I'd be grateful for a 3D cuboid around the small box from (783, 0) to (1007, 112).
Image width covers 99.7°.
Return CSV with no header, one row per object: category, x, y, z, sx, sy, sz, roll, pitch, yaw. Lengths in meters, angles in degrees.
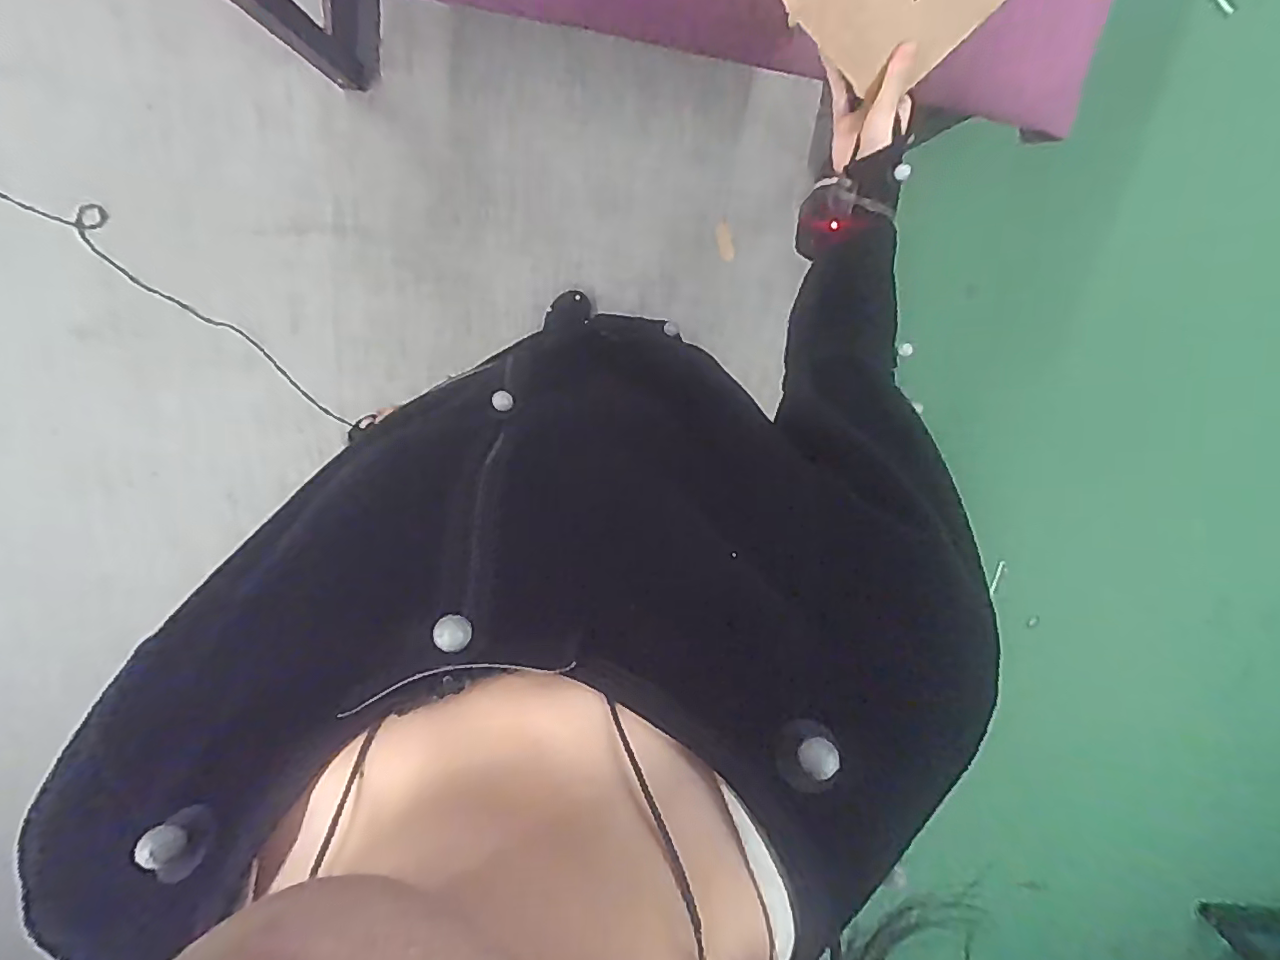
small box,0.210,-0.474,0.450,0.168,0.176,0.179,4,152,-43
